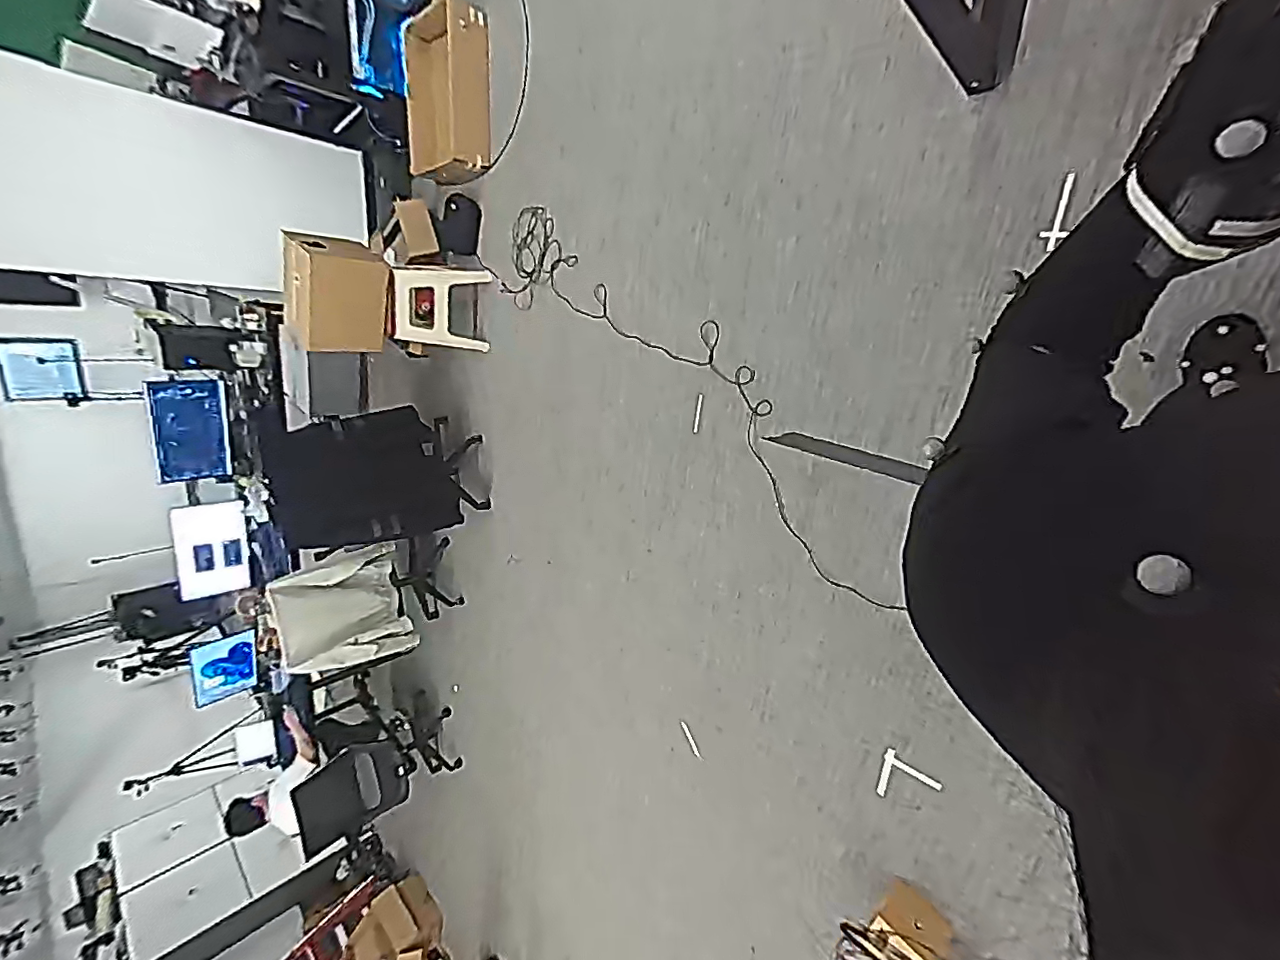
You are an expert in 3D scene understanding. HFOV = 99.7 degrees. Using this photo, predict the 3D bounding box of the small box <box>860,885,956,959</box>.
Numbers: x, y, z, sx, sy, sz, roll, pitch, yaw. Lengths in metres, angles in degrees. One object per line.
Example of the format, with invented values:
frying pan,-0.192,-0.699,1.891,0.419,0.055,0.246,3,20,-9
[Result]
small box,0.793,1.350,1.597,0.179,0.176,0.168,34,121,33
